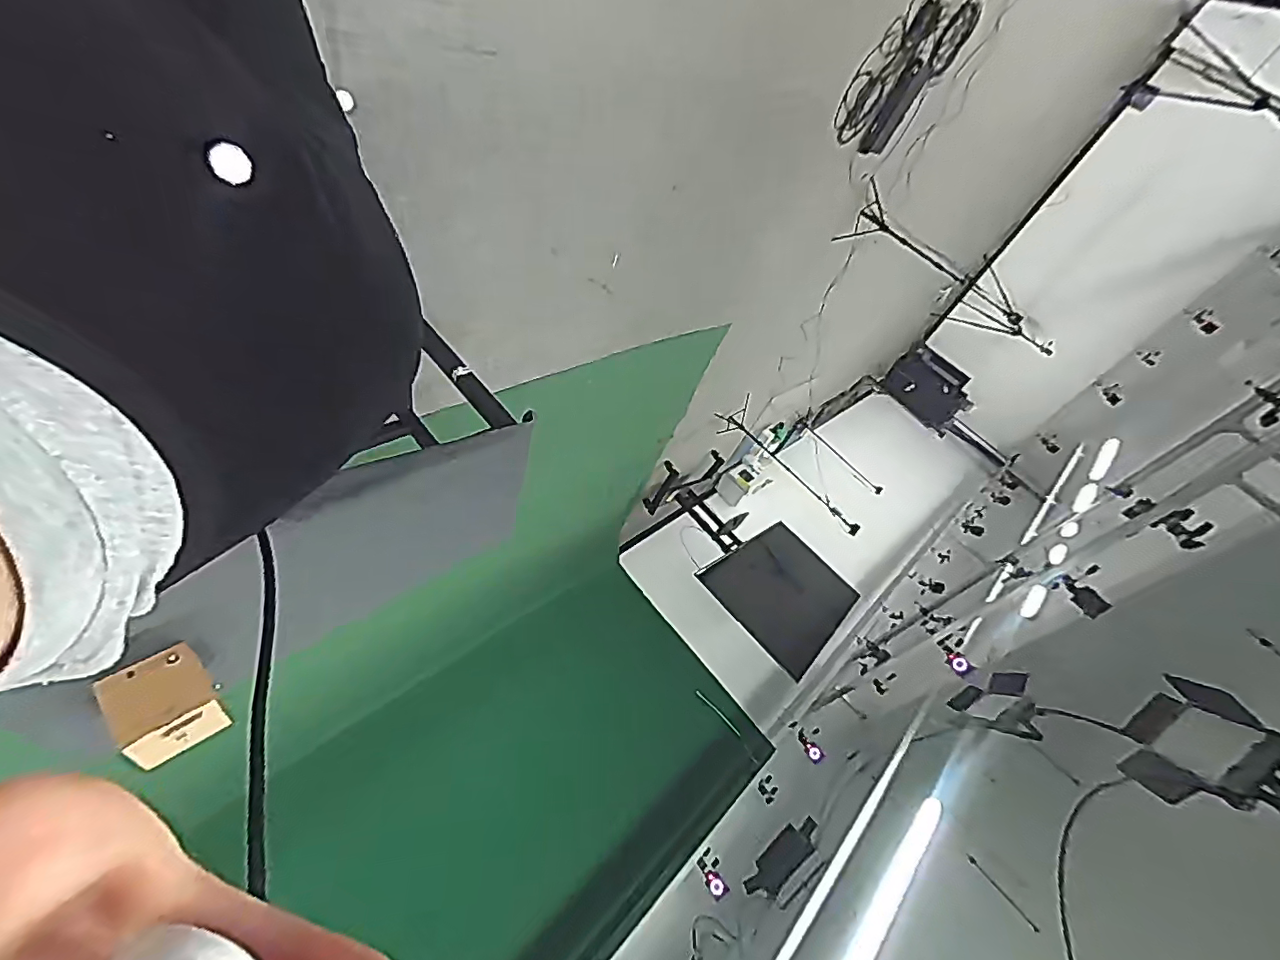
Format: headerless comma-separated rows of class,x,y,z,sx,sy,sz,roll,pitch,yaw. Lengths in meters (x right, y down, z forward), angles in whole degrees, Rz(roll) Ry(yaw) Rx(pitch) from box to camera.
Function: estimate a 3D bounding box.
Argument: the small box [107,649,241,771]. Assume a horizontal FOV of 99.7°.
small box,-1.052,0.514,1.227,0.168,0.176,0.179,-29,157,-39
